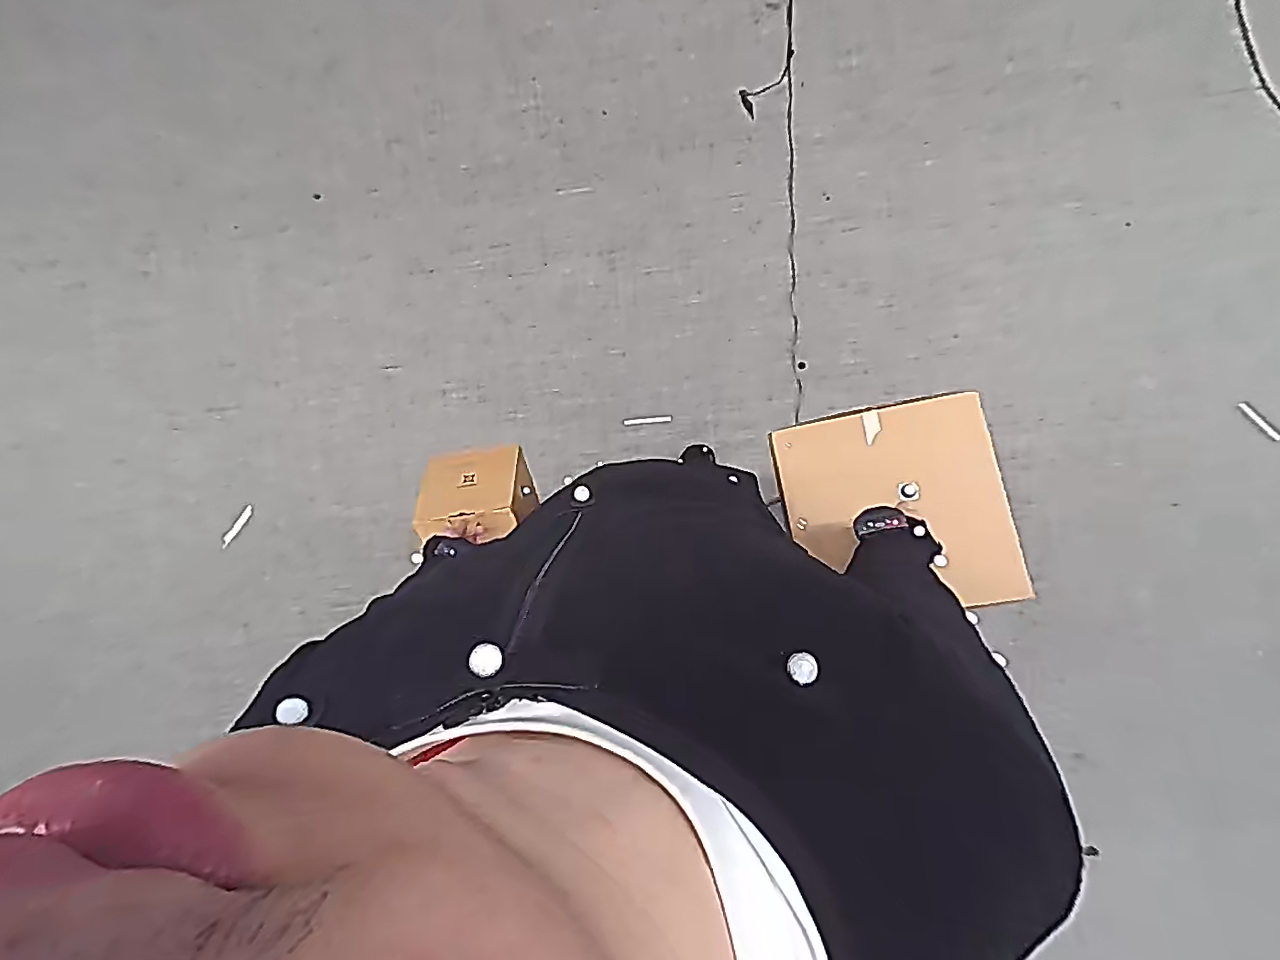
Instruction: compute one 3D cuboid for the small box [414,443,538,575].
[{"bbox_3d":[-0.288,0.059,0.996,0.168,0.179,0.176,-8,133,0],"label":"small box"}]
